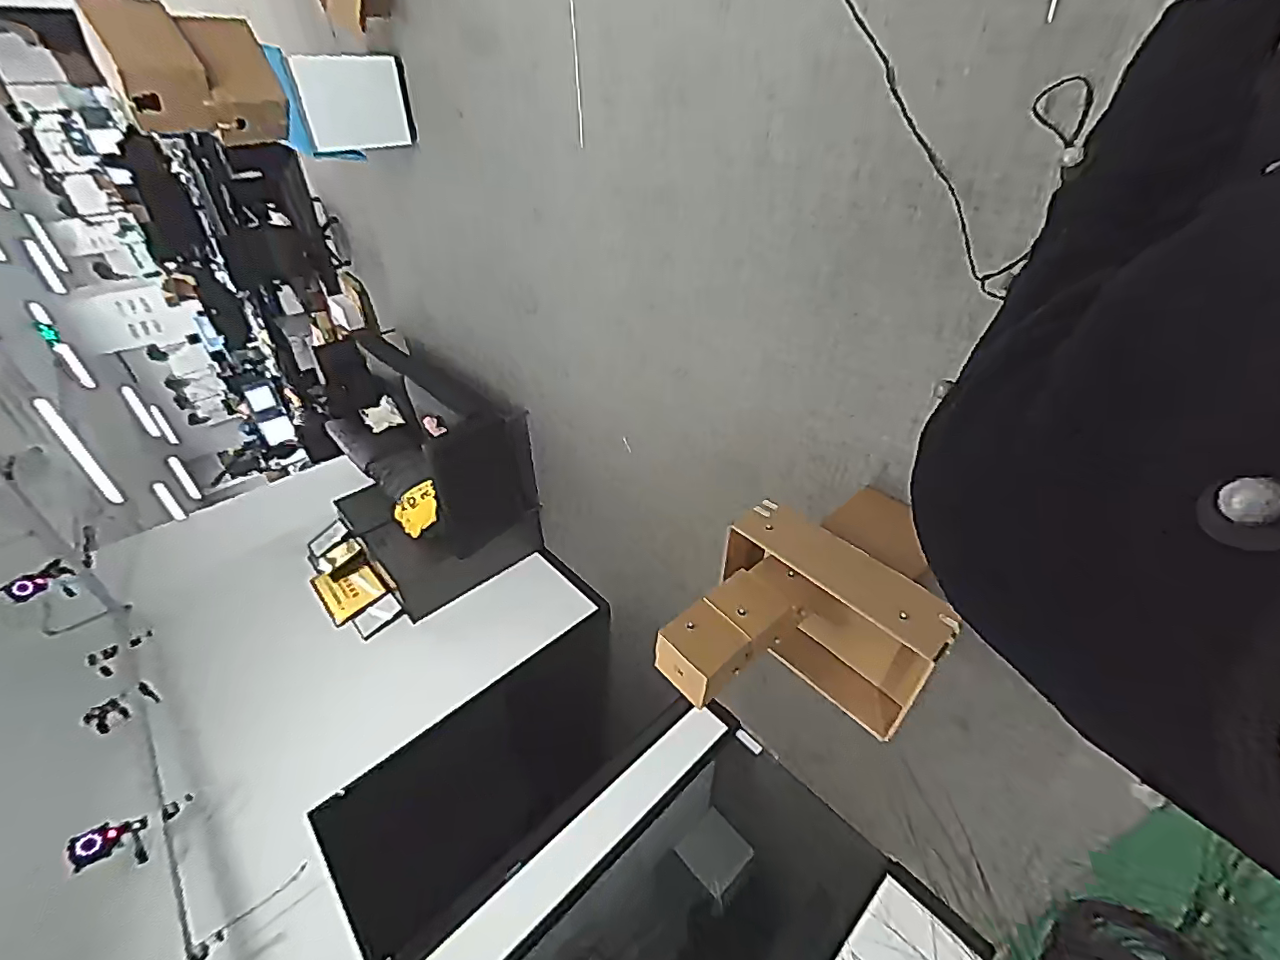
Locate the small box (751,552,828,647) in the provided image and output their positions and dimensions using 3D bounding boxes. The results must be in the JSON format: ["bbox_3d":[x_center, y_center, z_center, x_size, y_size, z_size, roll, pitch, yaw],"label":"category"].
[{"bbox_3d":[0.423,0.344,1.588,0.168,0.176,0.179,40,141,33],"label":"small box"}]

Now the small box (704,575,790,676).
[{"bbox_3d":[0.290,0.399,1.508,0.179,0.176,0.168,39,141,34],"label":"small box"}]

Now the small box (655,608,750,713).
[{"bbox_3d":[0.162,0.467,1.431,0.179,0.176,0.168,38,141,34],"label":"small box"}]
